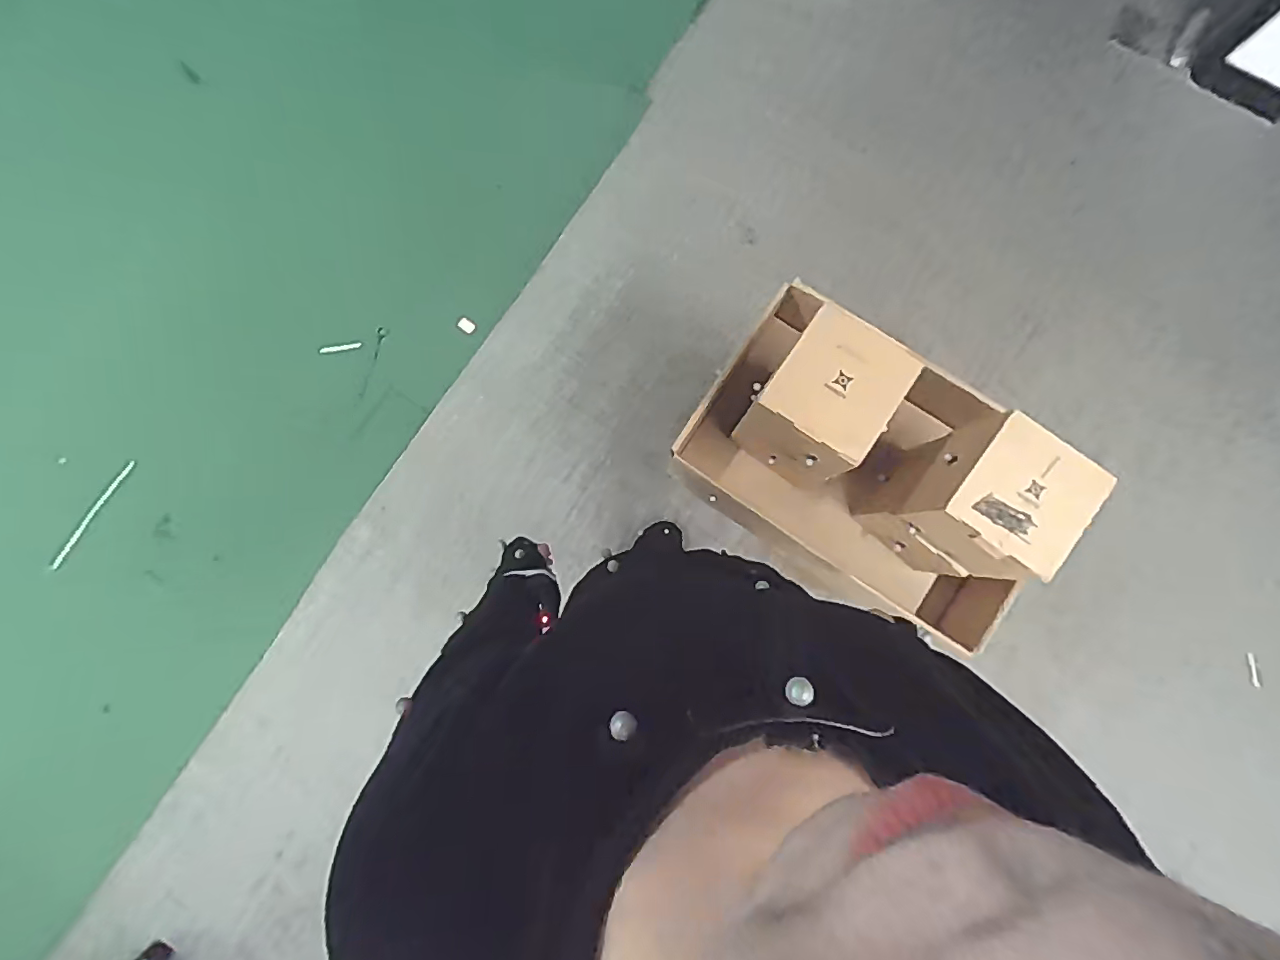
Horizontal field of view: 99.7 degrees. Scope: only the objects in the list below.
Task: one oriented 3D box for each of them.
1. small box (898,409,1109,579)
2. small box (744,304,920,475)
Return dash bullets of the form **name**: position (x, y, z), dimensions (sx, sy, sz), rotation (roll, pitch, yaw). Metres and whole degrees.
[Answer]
- **small box**: position (0.521, 0.027, 0.809), dimensions (0.168, 0.176, 0.179), rotation (37, 85, 4)
- **small box**: position (0.277, -0.125, 0.828), dimensions (0.168, 0.176, 0.179), rotation (35, 85, 4)
